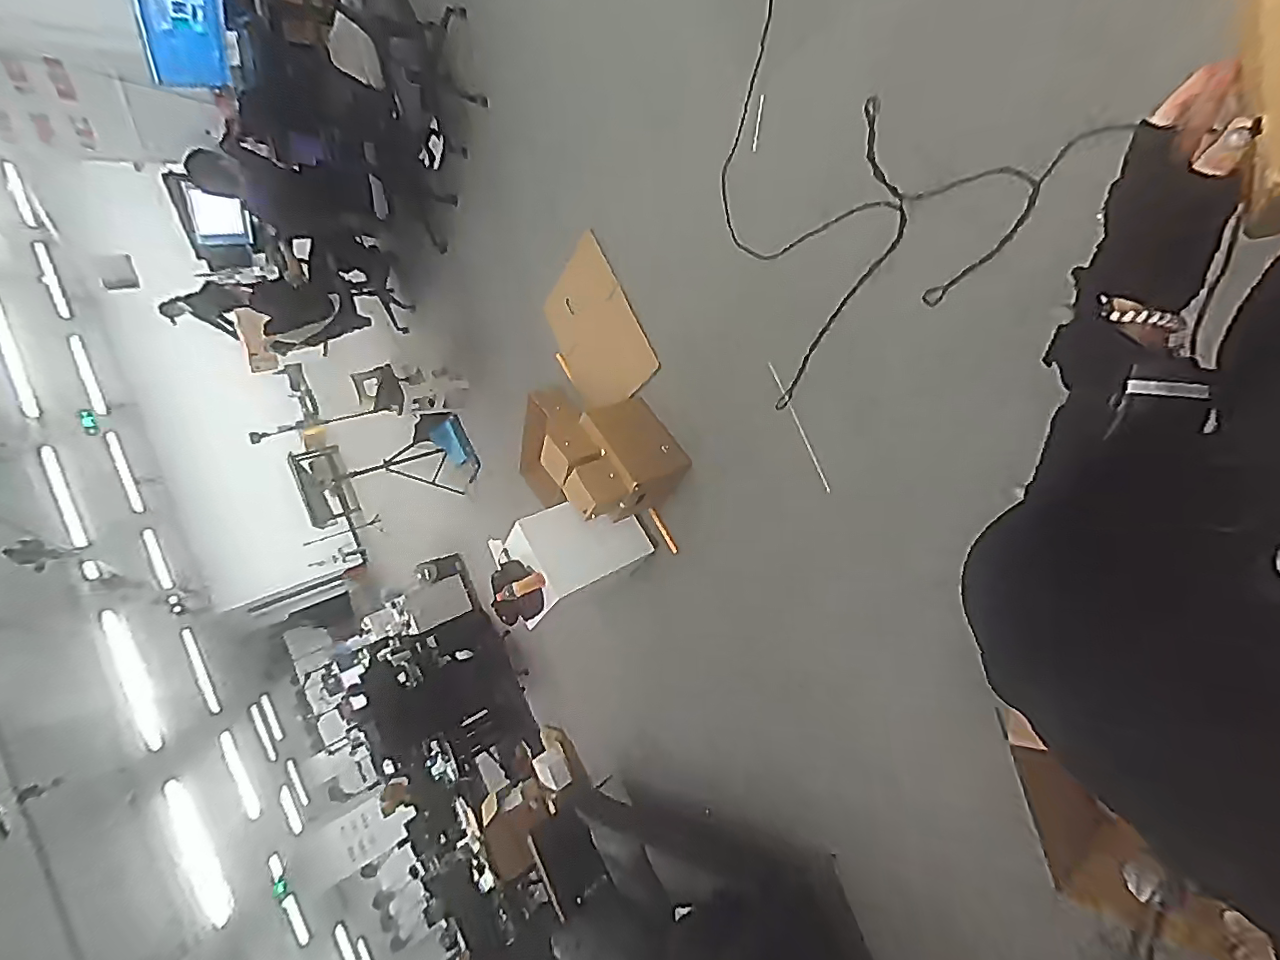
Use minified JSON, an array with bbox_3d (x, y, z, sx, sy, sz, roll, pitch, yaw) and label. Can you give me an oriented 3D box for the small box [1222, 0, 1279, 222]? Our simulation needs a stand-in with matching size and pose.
[{"bbox_3d":[0.434,-0.262,0.282,0.168,0.176,0.179,-5,97,45],"label":"small box"}]
